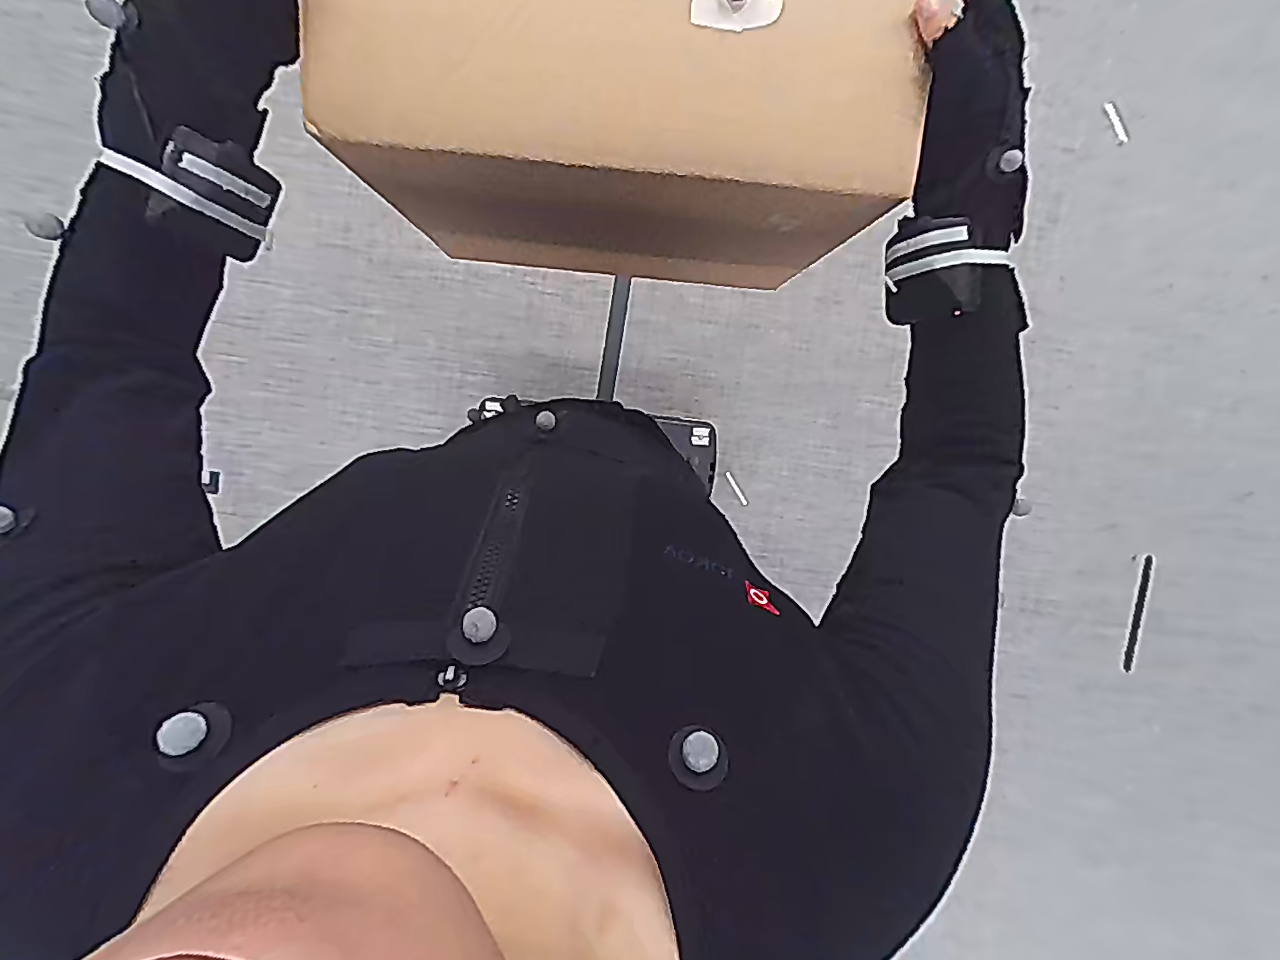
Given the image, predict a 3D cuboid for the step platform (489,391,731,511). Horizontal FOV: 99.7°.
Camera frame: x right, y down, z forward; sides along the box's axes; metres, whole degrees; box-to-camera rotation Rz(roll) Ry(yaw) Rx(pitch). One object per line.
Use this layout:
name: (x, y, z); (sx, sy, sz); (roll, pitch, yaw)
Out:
step platform: (-0.084, -0.084, 1.566); (0.684, 0.204, 0.286); (5, 95, -4)

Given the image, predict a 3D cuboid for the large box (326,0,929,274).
large box: (-0.009, -0.392, 0.494); (0.408, 0.320, 0.320); (4, 99, -4)
